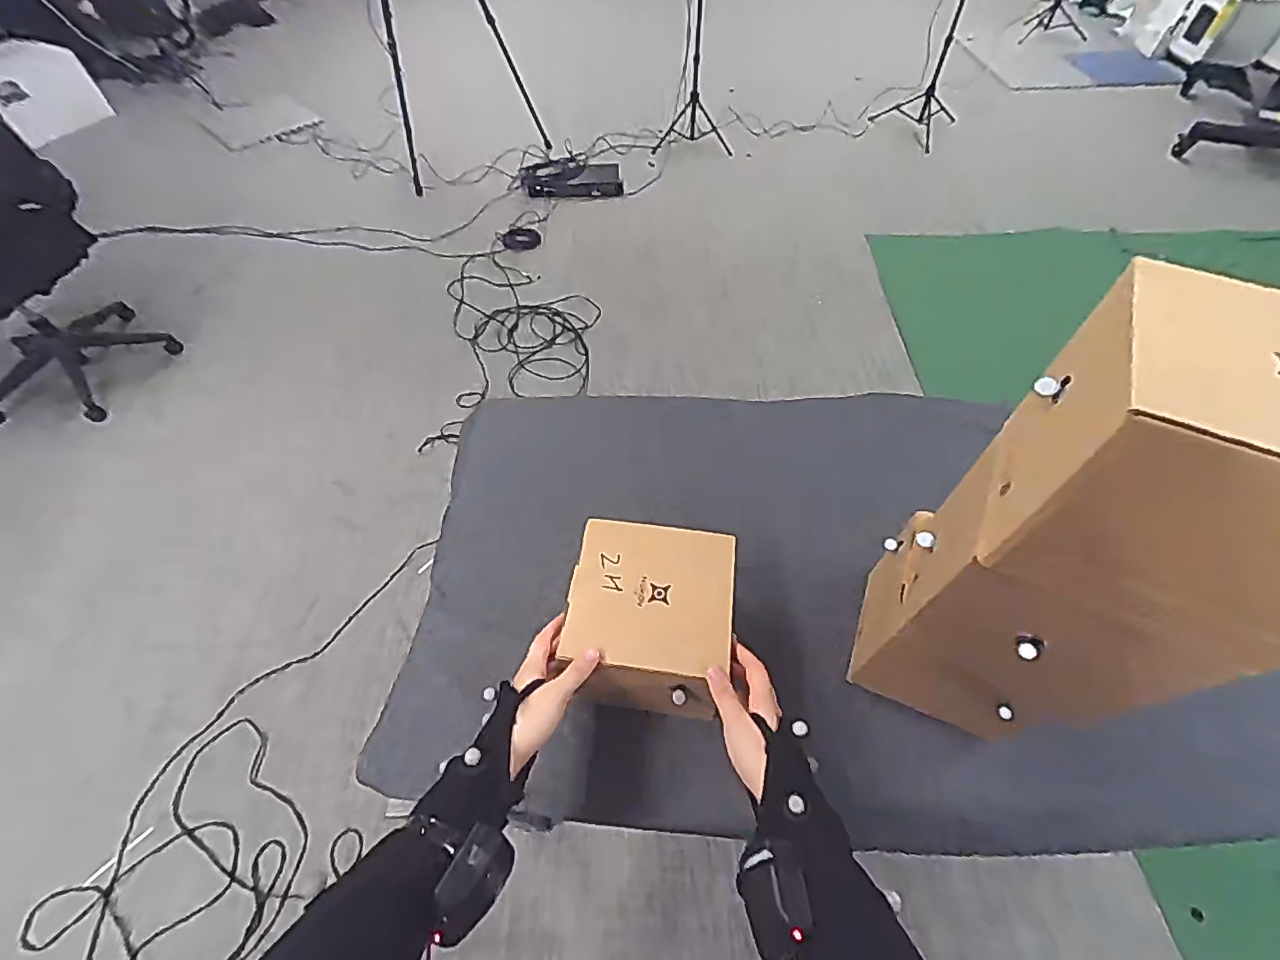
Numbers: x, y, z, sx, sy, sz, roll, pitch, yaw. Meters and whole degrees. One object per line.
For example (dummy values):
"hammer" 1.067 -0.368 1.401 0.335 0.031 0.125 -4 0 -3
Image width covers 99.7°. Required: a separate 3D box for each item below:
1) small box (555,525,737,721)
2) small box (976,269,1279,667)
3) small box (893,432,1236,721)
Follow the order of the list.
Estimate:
"small box" 0.013 0.175 0.640 0.179 0.176 0.168 6 54 6
"small box" 0.359 -0.004 0.358 0.179 0.176 0.168 24 57 17
"small box" 0.364 0.093 0.489 0.179 0.176 0.168 26 58 19
